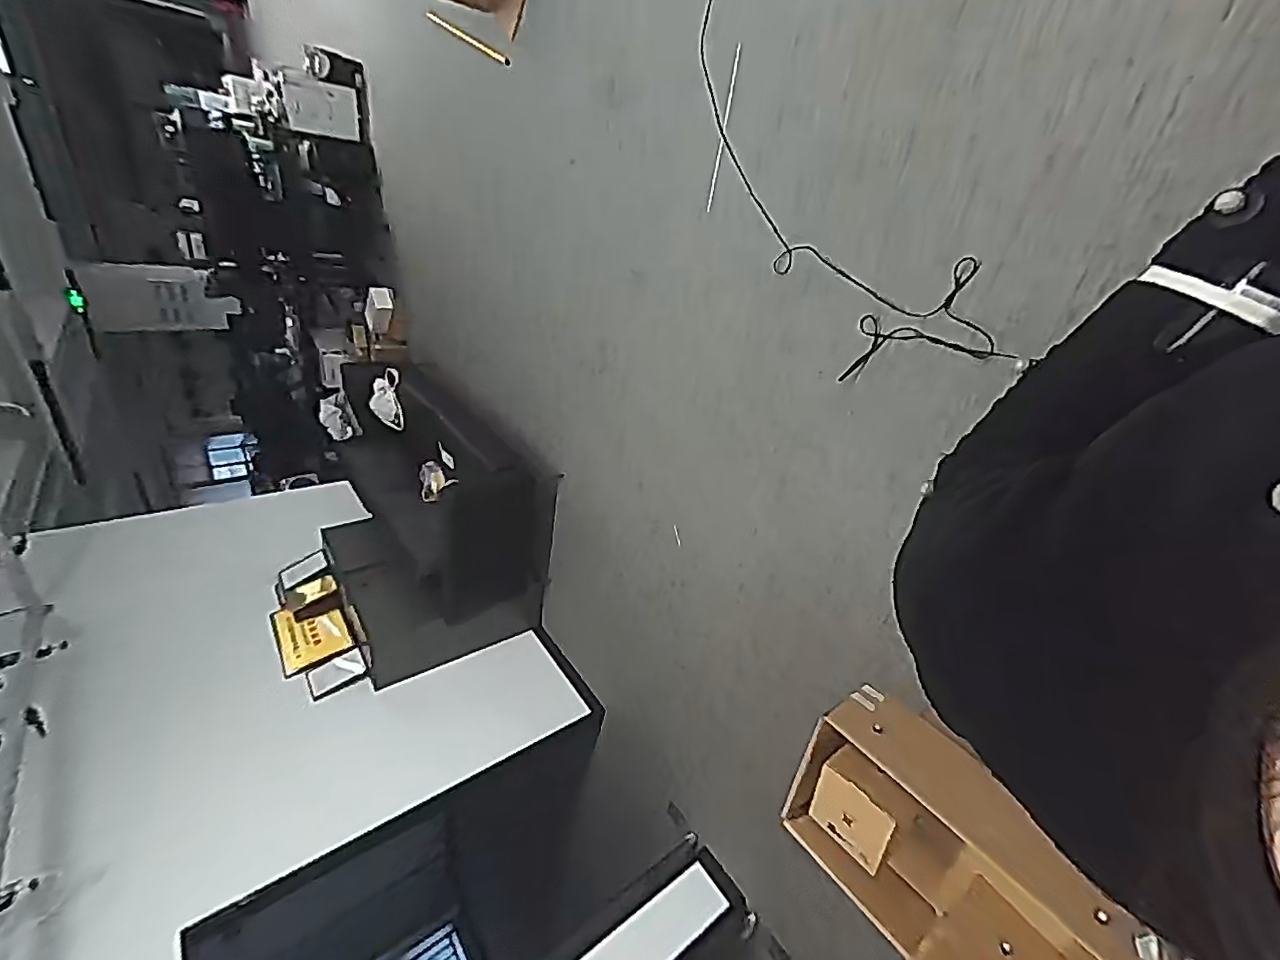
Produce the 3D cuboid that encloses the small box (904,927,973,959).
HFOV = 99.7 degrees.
[{"bbox_3d":[0.538,0.959,0.962,0.168,0.176,0.179,39,130,41],"label":"small box"}]
